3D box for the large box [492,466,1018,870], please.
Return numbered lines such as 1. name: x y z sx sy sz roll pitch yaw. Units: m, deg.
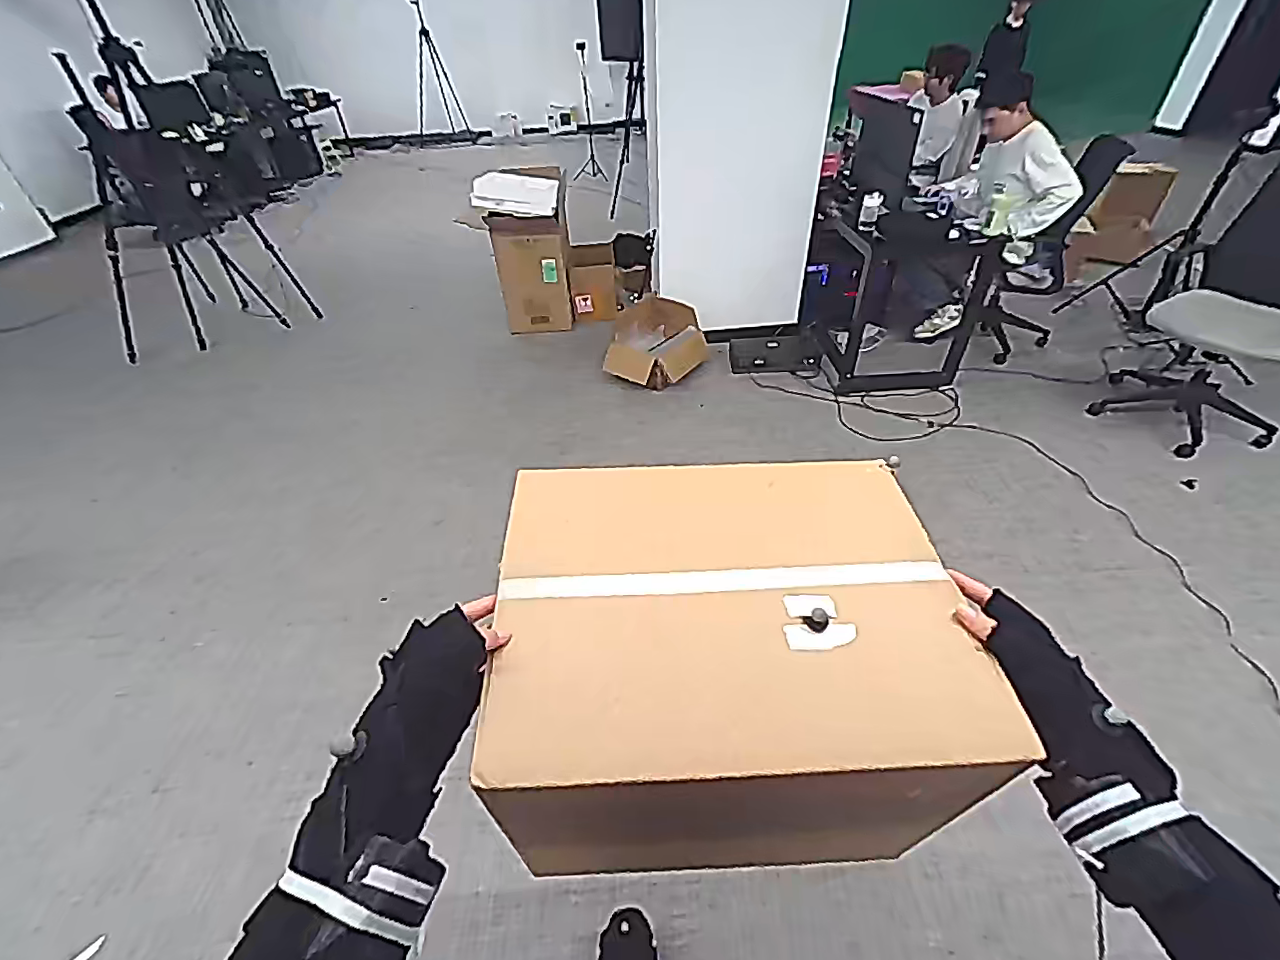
1. large box: 0.078 0.204 0.604 0.408 0.320 0.320 -2 45 -3
